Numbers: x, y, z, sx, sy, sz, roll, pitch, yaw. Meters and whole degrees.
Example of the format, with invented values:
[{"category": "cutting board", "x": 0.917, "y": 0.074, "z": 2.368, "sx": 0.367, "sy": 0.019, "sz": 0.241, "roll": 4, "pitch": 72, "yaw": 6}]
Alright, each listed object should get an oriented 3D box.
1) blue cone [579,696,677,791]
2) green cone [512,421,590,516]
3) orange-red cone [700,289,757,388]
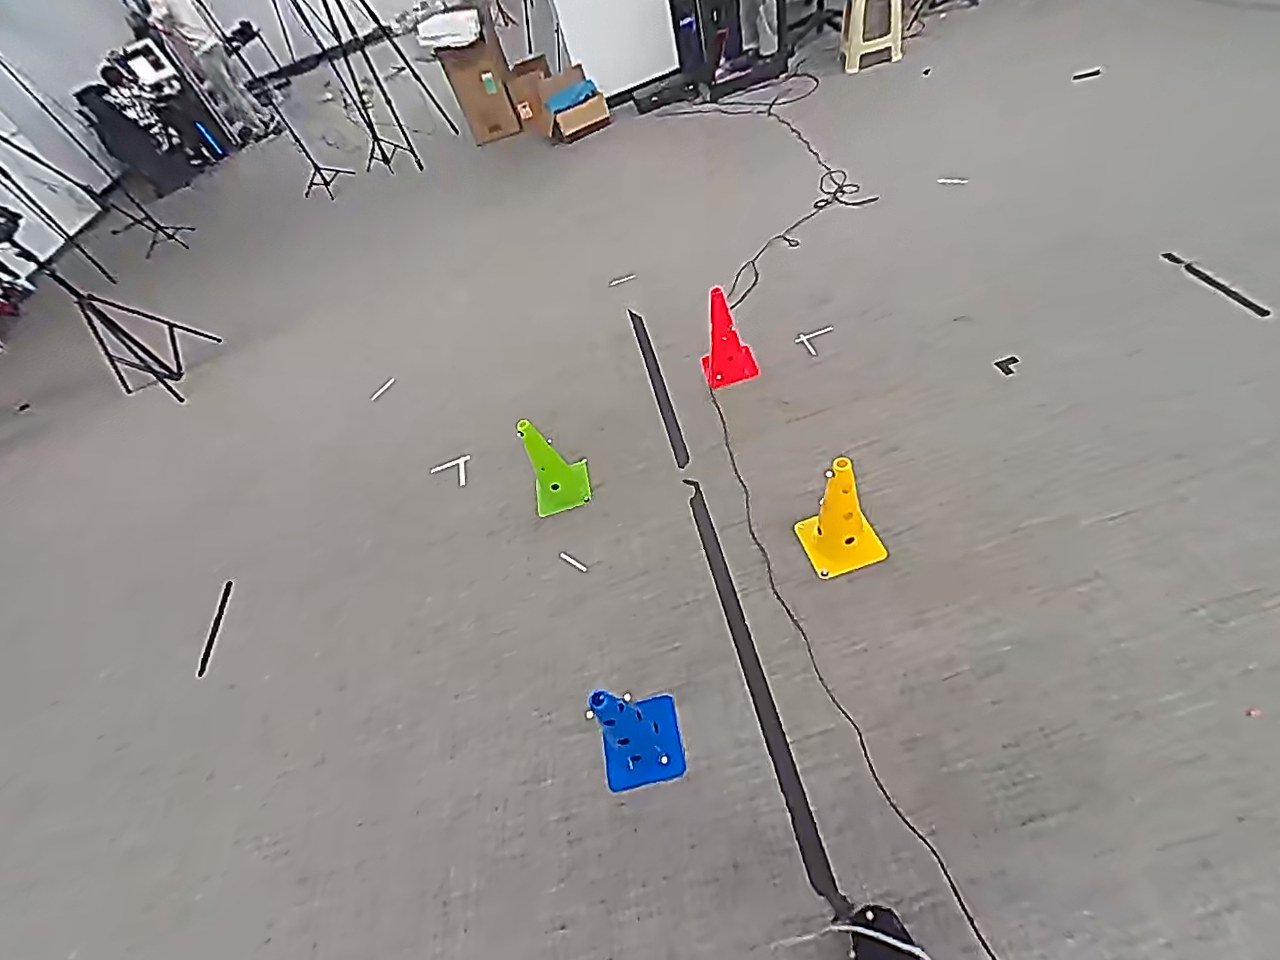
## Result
[{"category": "blue cone", "x": -0.050, "y": 0.571, "z": 1.251, "sx": 0.192, "sy": 0.380, "sz": 0.193, "roll": -16, "pitch": 49, "yaw": 8}, {"category": "green cone", "x": -0.333, "y": -0.072, "z": 1.844, "sx": 0.202, "sy": 0.368, "sz": 0.200, "roll": -19, "pitch": 49, "yaw": 5}, {"category": "orange-red cone", "x": 0.306, "y": -0.549, "z": 2.011, "sx": 0.199, "sy": 0.360, "sz": 0.198, "roll": -14, "pitch": 51, "yaw": 6}]
